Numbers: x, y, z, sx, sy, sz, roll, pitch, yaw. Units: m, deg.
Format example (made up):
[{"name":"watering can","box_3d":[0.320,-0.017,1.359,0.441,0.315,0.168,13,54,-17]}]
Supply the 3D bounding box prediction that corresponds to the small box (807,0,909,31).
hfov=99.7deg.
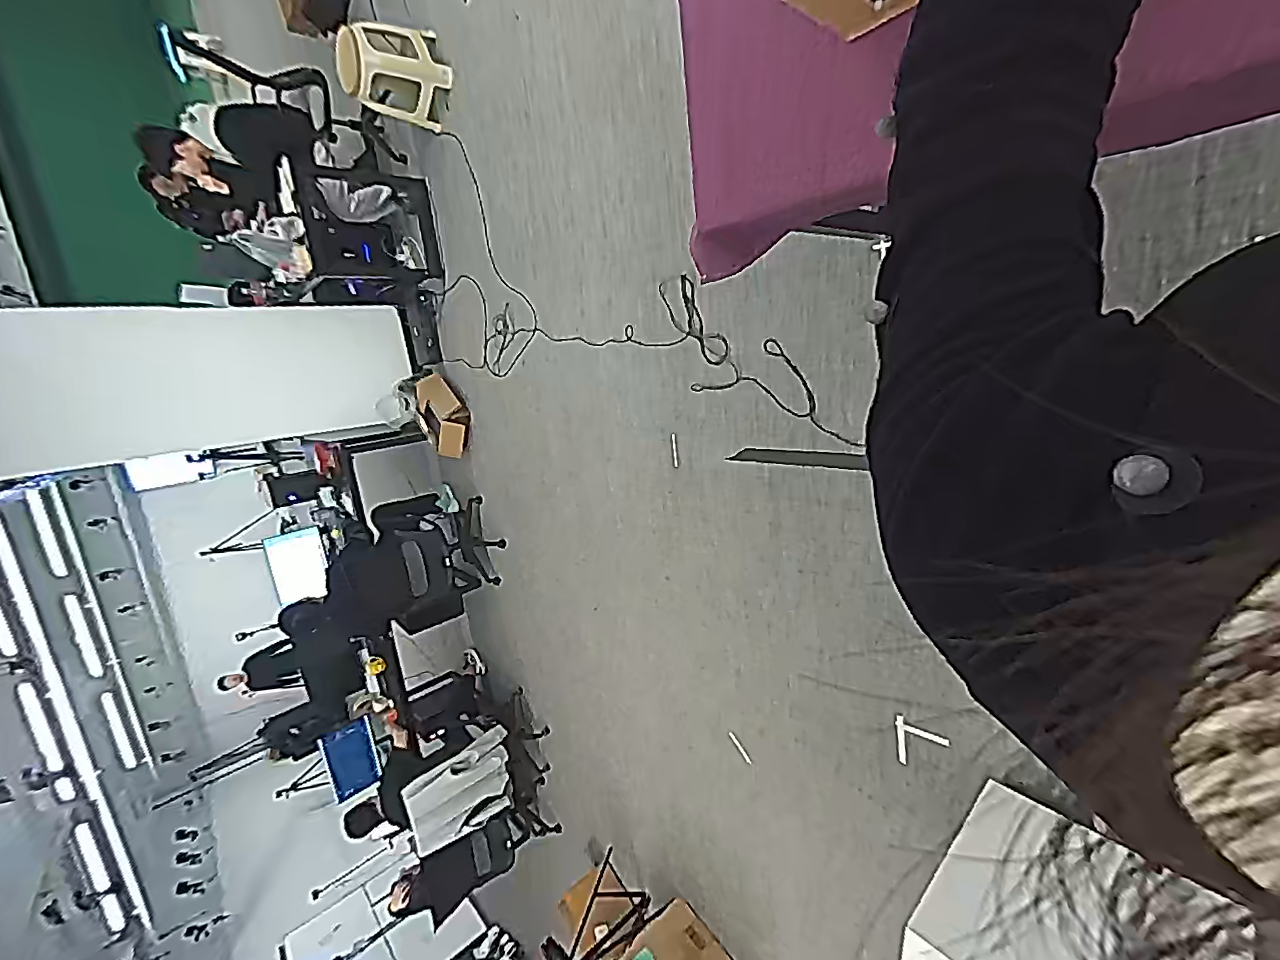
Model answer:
[{"name":"small box","box_3d":[0.261,-0.659,0.602,0.168,0.176,0.179,6,109,48]}]
